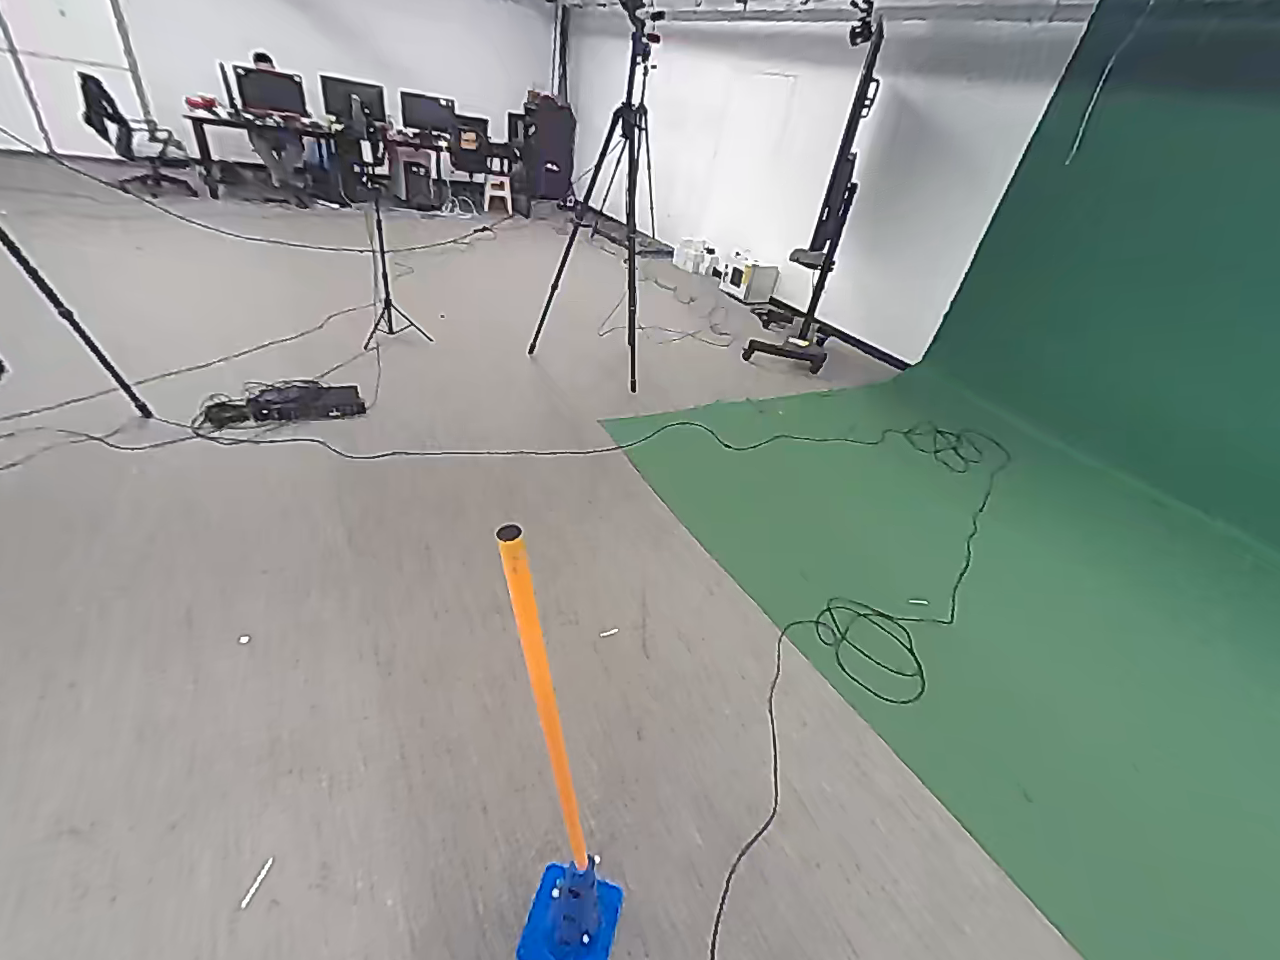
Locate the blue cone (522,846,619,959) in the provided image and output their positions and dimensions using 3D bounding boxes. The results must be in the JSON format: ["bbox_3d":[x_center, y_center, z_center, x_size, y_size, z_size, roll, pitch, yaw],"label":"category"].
[{"bbox_3d":[-0.133,0.867,1.120,0.193,0.380,0.192,14,35,7],"label":"blue cone"}]
